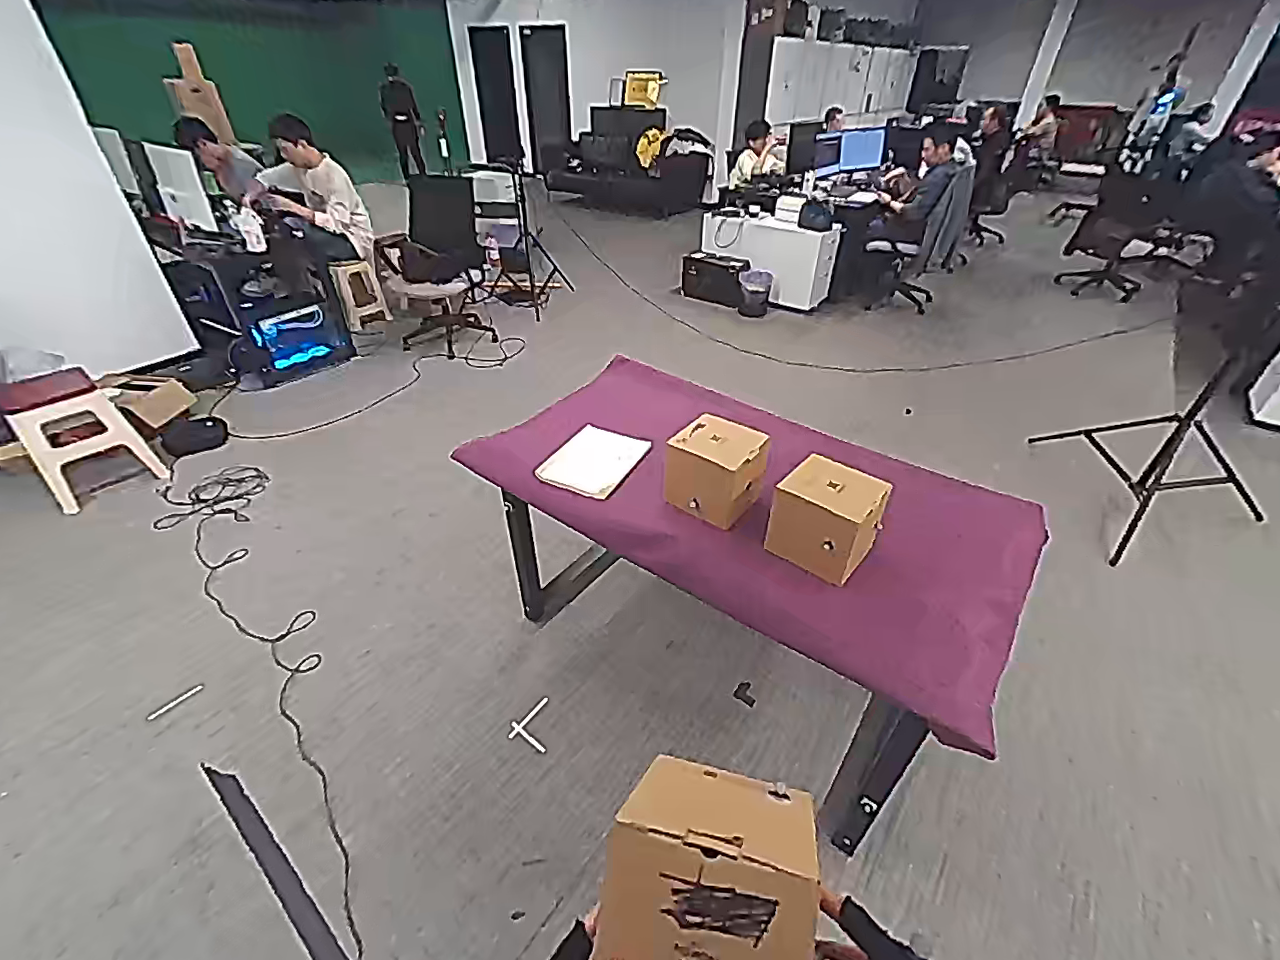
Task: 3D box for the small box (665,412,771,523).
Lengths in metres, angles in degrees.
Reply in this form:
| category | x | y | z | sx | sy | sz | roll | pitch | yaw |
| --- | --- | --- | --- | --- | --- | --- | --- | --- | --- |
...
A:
| category | x | y | z | sx | sy | sz | roll | pitch | yaw |
| --- | --- | --- | --- | --- | --- | --- | --- | --- | --- |
| small box | 0.174 | -0.026 | 1.239 | 0.179 | 0.176 | 0.168 | 26 | 43 | 29 |

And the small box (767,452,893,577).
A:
| category | x | y | z | sx | sy | sz | roll | pitch | yaw |
| --- | --- | --- | --- | --- | --- | --- | --- | --- | --- |
| small box | 0.383 | 0.074 | 1.109 | 0.179 | 0.176 | 0.168 | 26 | 42 | 32 |
